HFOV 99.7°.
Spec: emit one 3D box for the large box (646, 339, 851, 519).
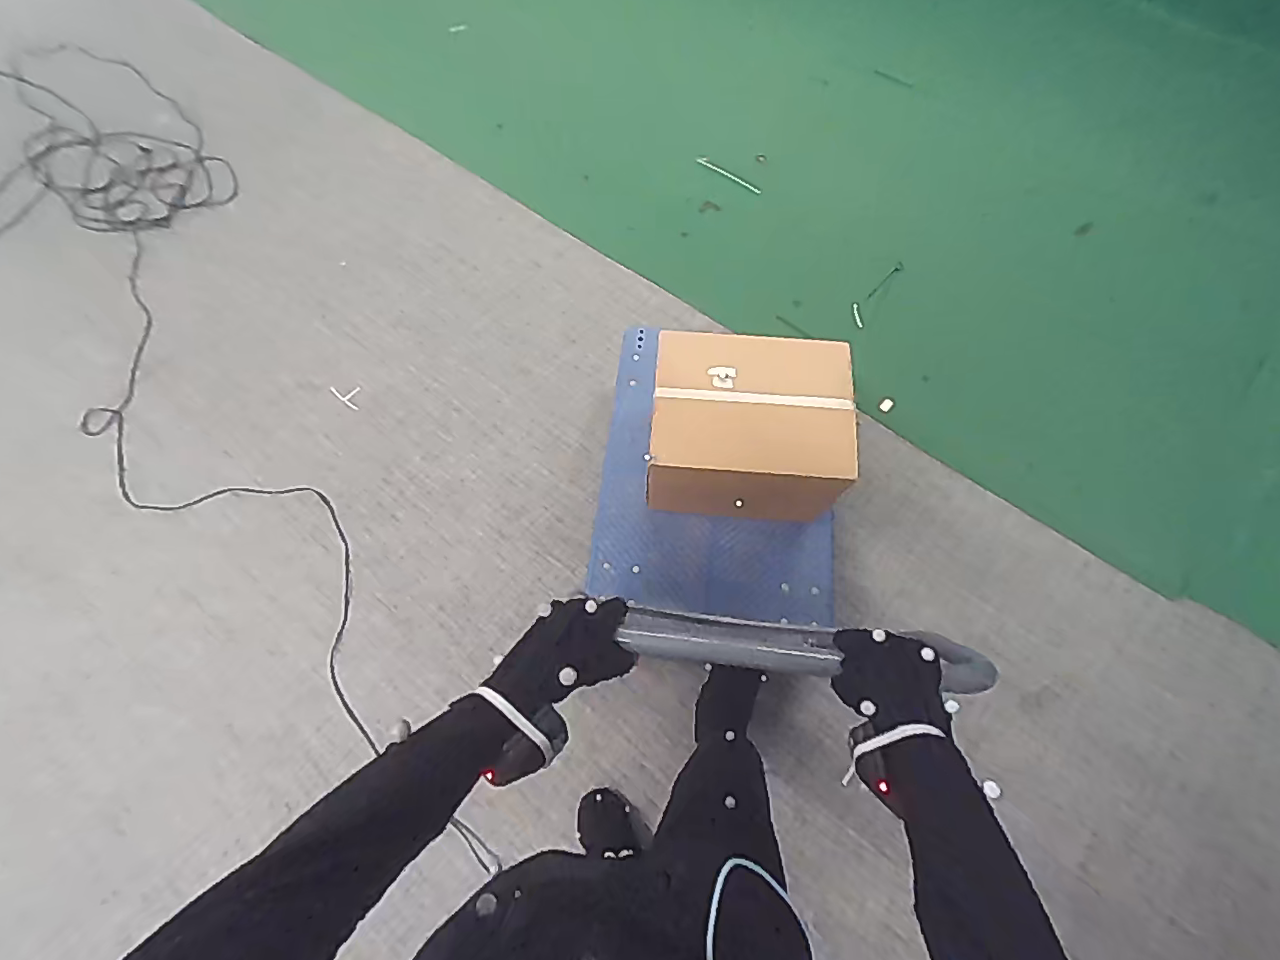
[{"bbox_3d":[0.224,-0.101,1.244,0.408,0.320,0.320,4,69,1],"label":"large box"}]
